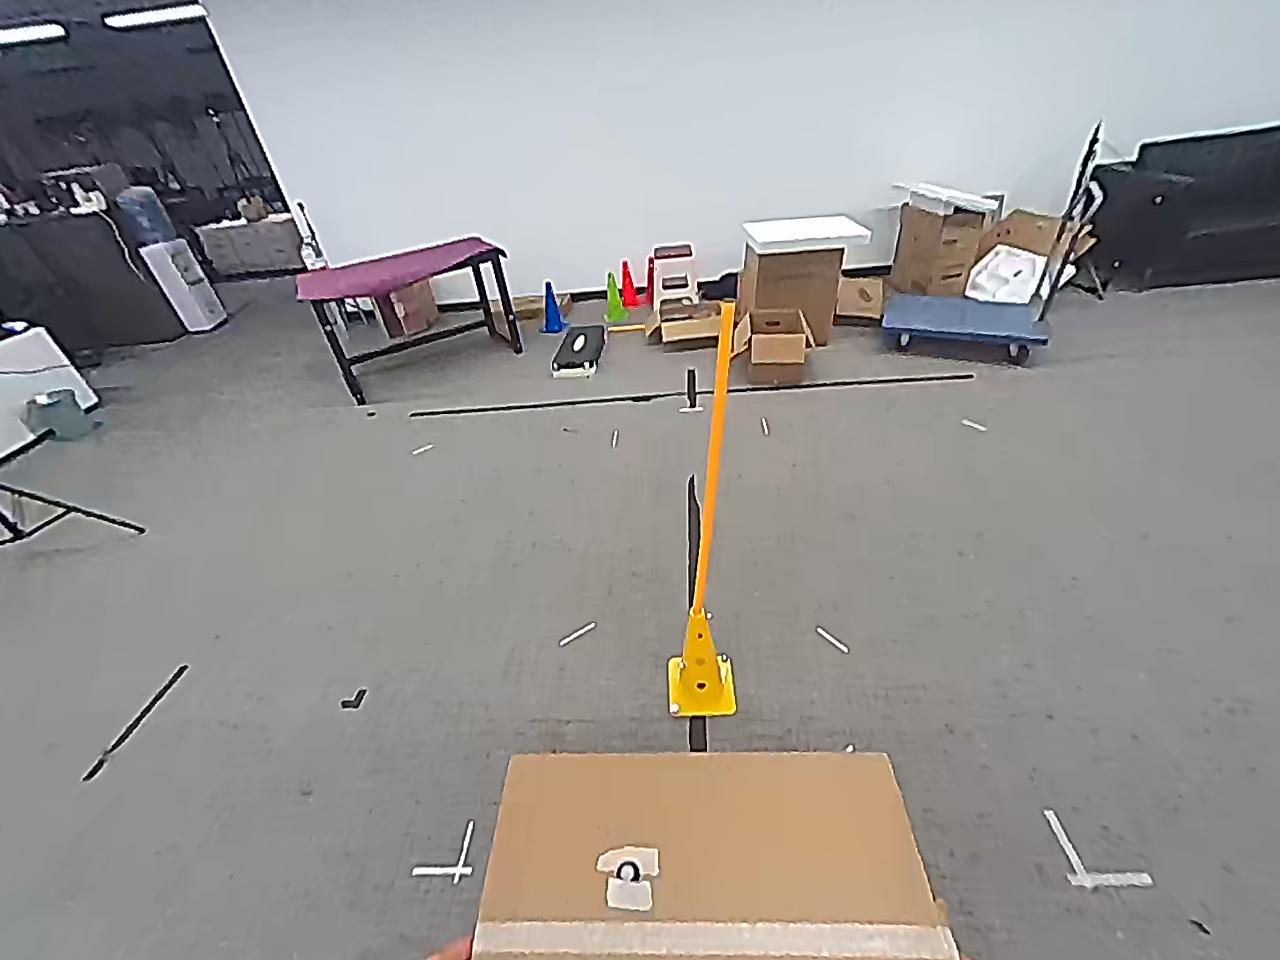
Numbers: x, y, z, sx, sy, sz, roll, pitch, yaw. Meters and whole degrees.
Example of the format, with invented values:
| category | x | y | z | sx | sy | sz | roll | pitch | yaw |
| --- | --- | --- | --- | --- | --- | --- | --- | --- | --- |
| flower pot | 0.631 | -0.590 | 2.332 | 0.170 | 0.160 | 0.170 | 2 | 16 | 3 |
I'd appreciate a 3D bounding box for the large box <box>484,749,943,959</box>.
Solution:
| category | x | y | z | sx | sy | sz | roll | pitch | yaw |
| --- | --- | --- | --- | --- | --- | --- | --- | --- | --- |
| large box | 0.073 | 0.515 | 0.575 | 0.408 | 0.320 | 0.320 | -4 | 40 | 4 |
